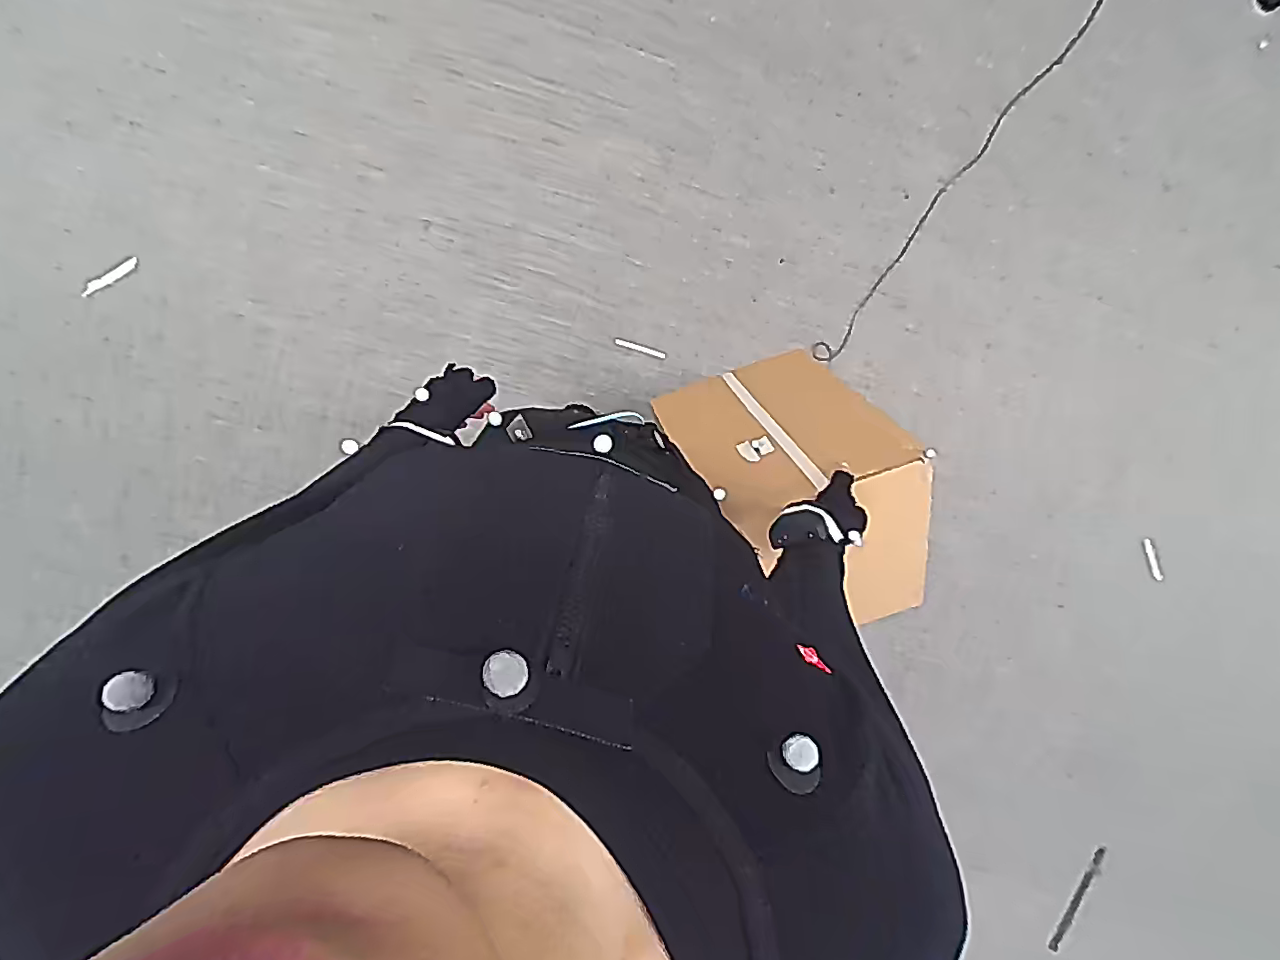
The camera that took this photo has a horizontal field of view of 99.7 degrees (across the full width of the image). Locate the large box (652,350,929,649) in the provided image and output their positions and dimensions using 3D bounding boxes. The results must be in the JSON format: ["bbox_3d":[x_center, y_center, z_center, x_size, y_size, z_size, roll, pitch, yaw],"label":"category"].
[{"bbox_3d":[0.246,0.018,0.983,0.320,0.408,0.320,-20,127,-1],"label":"large box"}]
